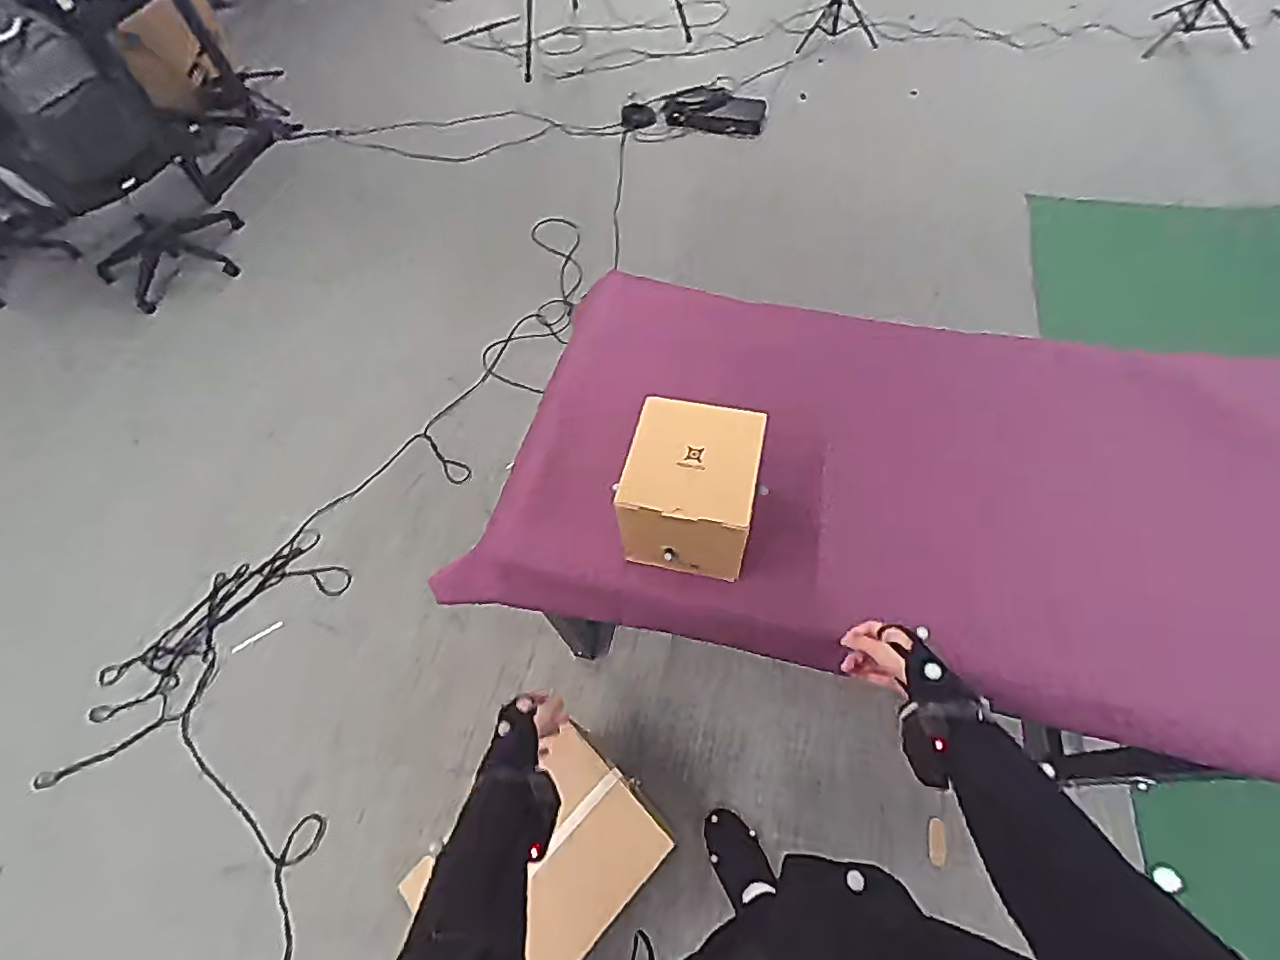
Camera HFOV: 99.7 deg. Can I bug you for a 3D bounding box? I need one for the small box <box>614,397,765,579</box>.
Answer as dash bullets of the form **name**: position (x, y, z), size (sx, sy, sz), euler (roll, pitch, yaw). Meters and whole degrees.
- **small box**: position (0.070, 0.014, 0.747), size (0.168, 0.176, 0.179), euler (10, 60, 11)
